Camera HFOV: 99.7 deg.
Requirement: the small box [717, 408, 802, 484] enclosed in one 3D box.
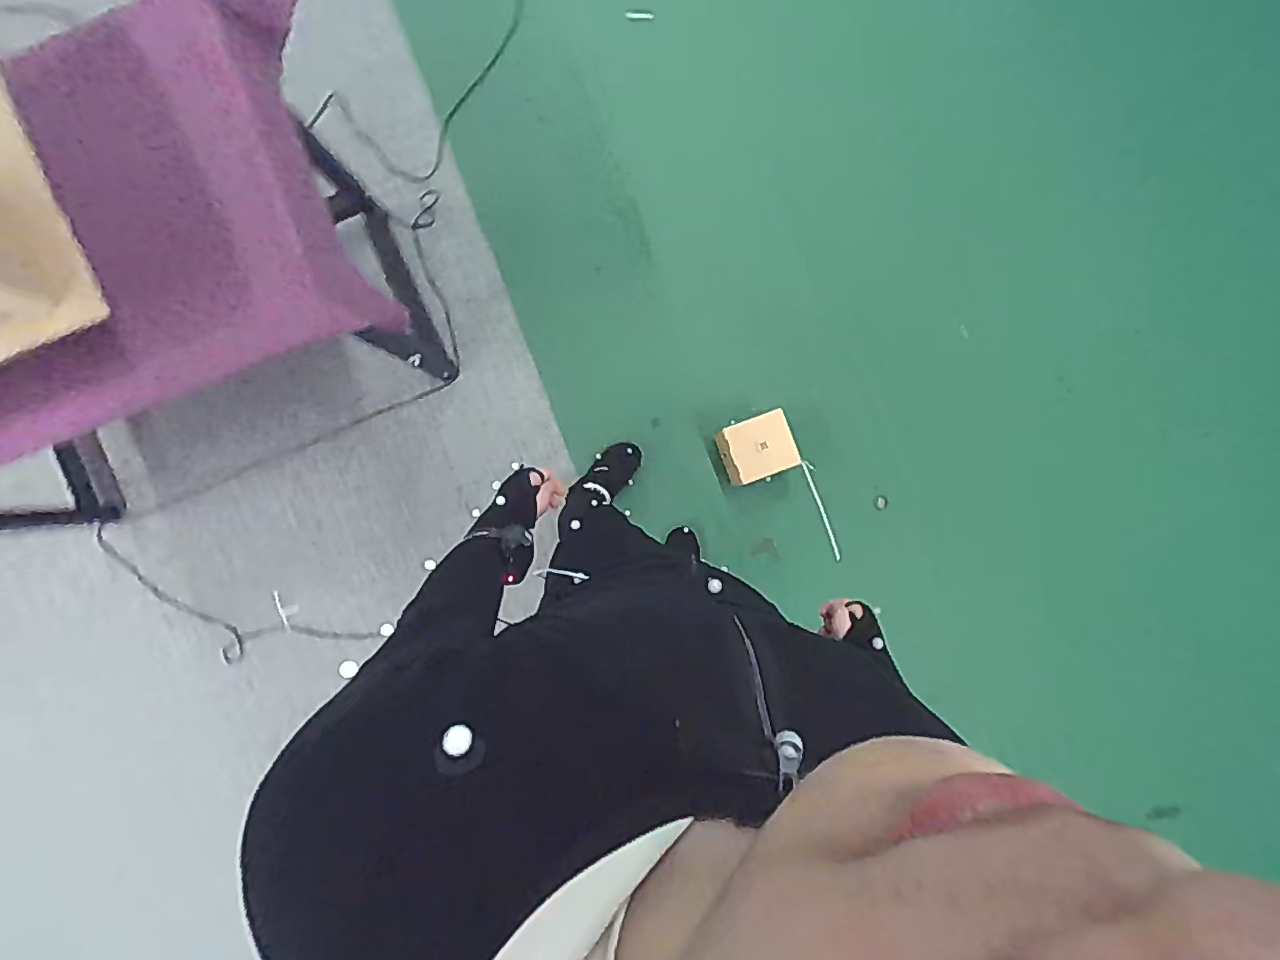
[{"bbox_3d":[0.336,-0.094,1.552,0.179,0.176,0.168,-21,89,1],"label":"small box"}]
